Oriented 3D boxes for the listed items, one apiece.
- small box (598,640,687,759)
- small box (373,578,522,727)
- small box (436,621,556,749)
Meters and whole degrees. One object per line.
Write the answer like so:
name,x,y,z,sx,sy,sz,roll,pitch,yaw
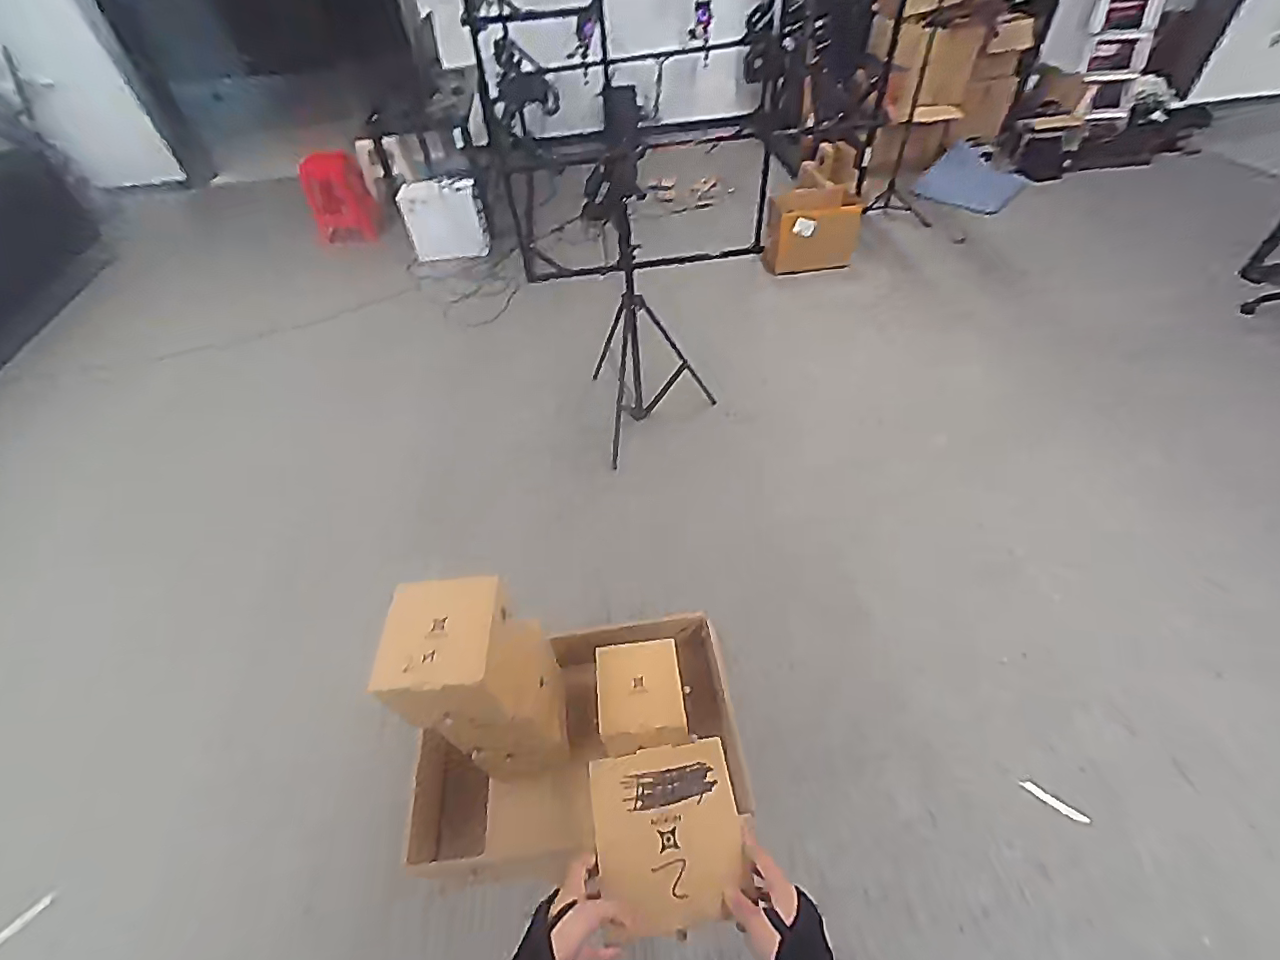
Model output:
small box,0.004,0.458,1.125,0.168,0.176,0.179,-7,49,0
small box,-0.293,0.278,0.869,0.168,0.176,0.179,-4,49,1
small box,-0.252,0.382,0.994,0.168,0.176,0.179,-5,48,0
